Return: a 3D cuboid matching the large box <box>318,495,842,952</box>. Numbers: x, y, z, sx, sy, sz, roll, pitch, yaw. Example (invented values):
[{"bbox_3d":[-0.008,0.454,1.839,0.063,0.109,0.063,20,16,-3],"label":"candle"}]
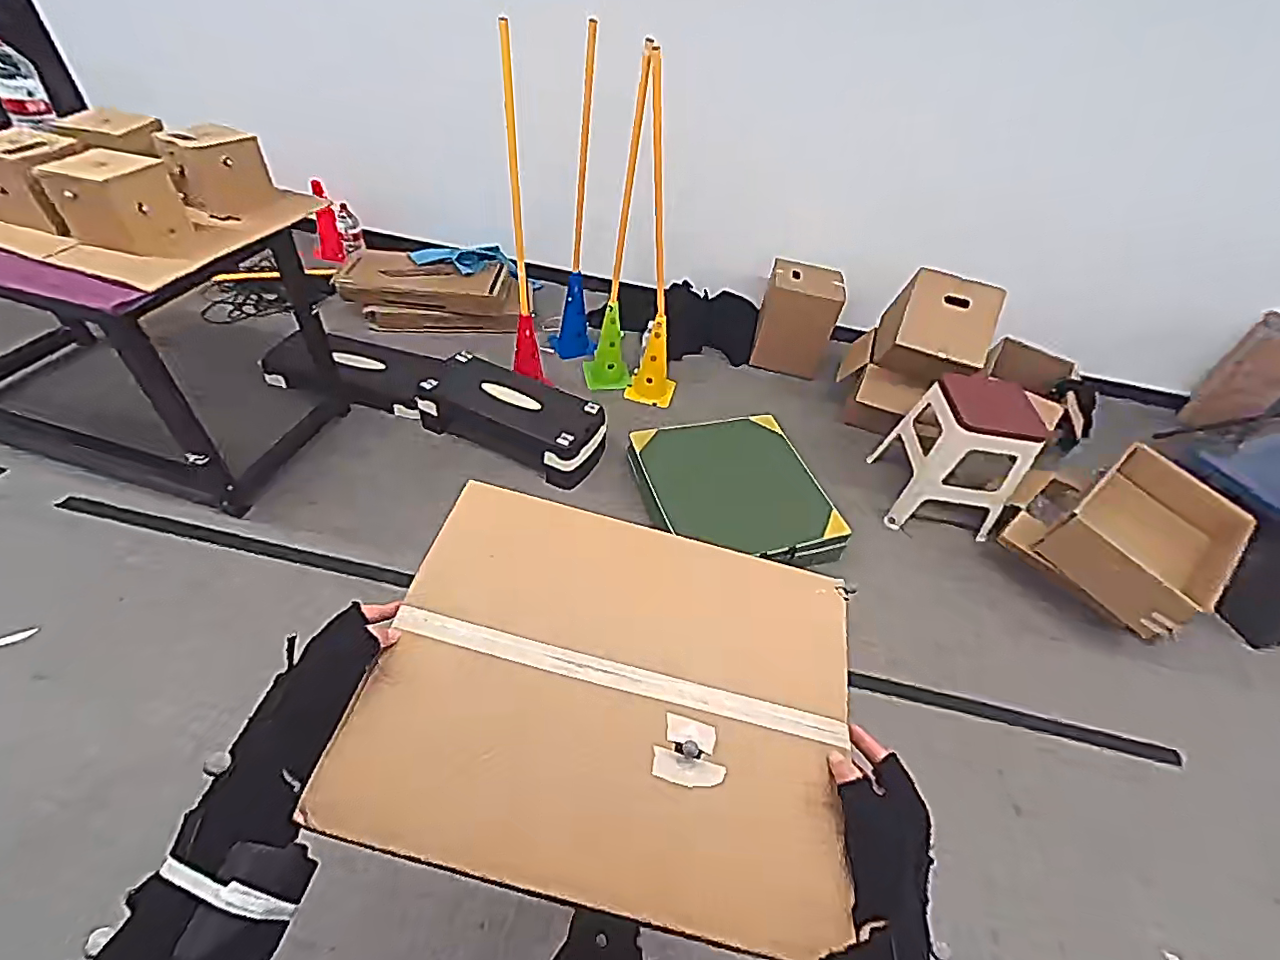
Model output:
[{"bbox_3d":[-0.041,0.267,0.600,0.408,0.320,0.320,15,53,0],"label":"large box"}]
